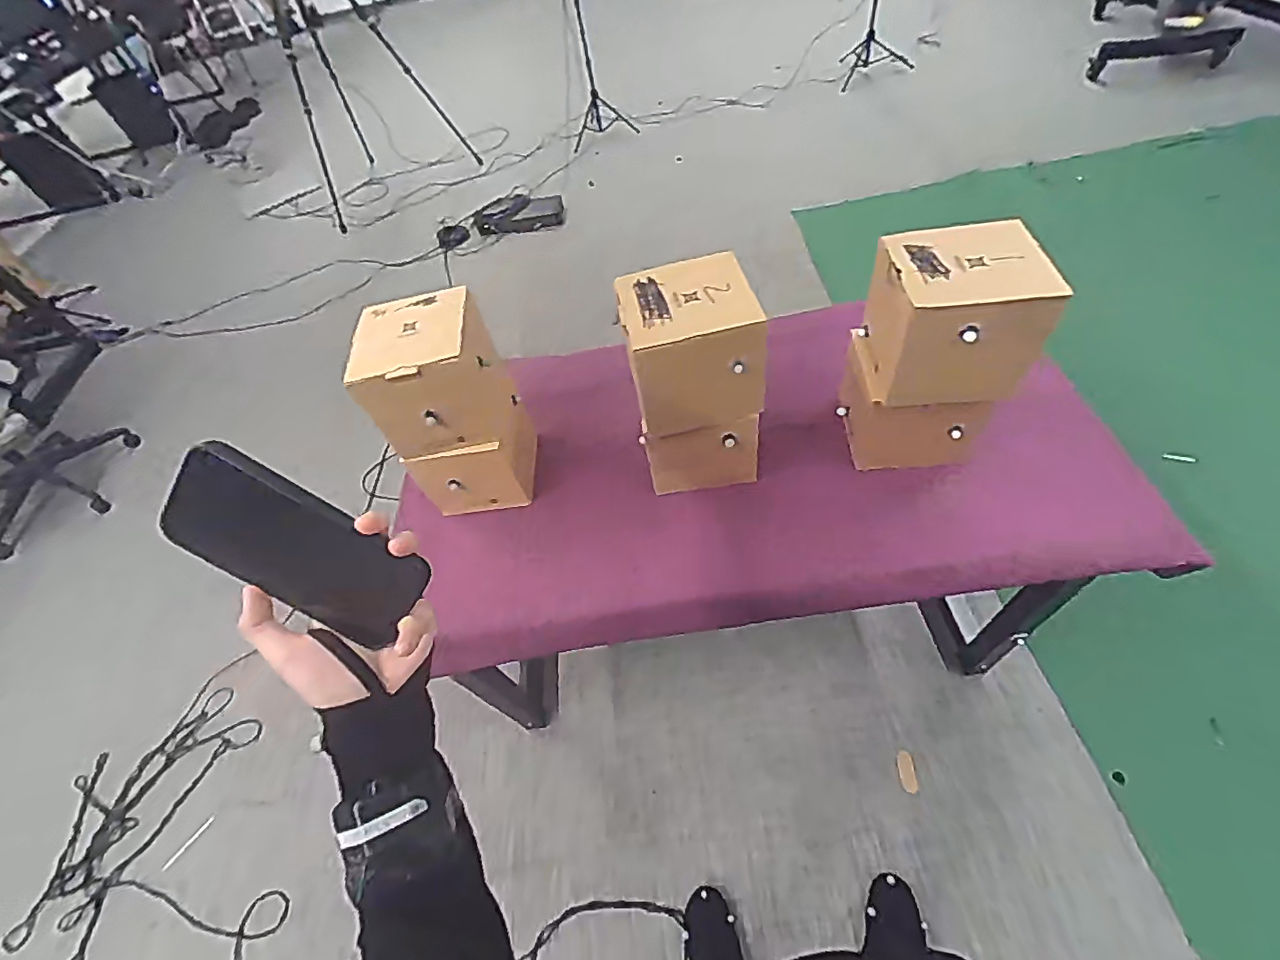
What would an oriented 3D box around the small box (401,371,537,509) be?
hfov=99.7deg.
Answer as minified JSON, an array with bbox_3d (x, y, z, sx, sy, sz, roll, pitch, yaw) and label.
[{"bbox_3d":[-0.289,-0.062,0.957,0.168,0.176,0.179,-8,53,6],"label":"small box"}]

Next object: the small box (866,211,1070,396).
[{"bbox_3d":[0.415,-0.229,0.728,0.179,0.176,0.168,-4,53,9],"label":"small box"}]

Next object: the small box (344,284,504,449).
[{"bbox_3d":[-0.317,-0.165,0.832,0.168,0.176,0.179,-12,53,2],"label":"small box"}]

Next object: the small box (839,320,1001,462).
[{"bbox_3d":[0.432,-0.144,0.867,0.179,0.176,0.168,-4,53,10],"label":"small box"}]

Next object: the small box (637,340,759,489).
[{"bbox_3d":[0.097,-0.105,0.907,0.179,0.176,0.168,-9,53,6],"label":"small box"}]
